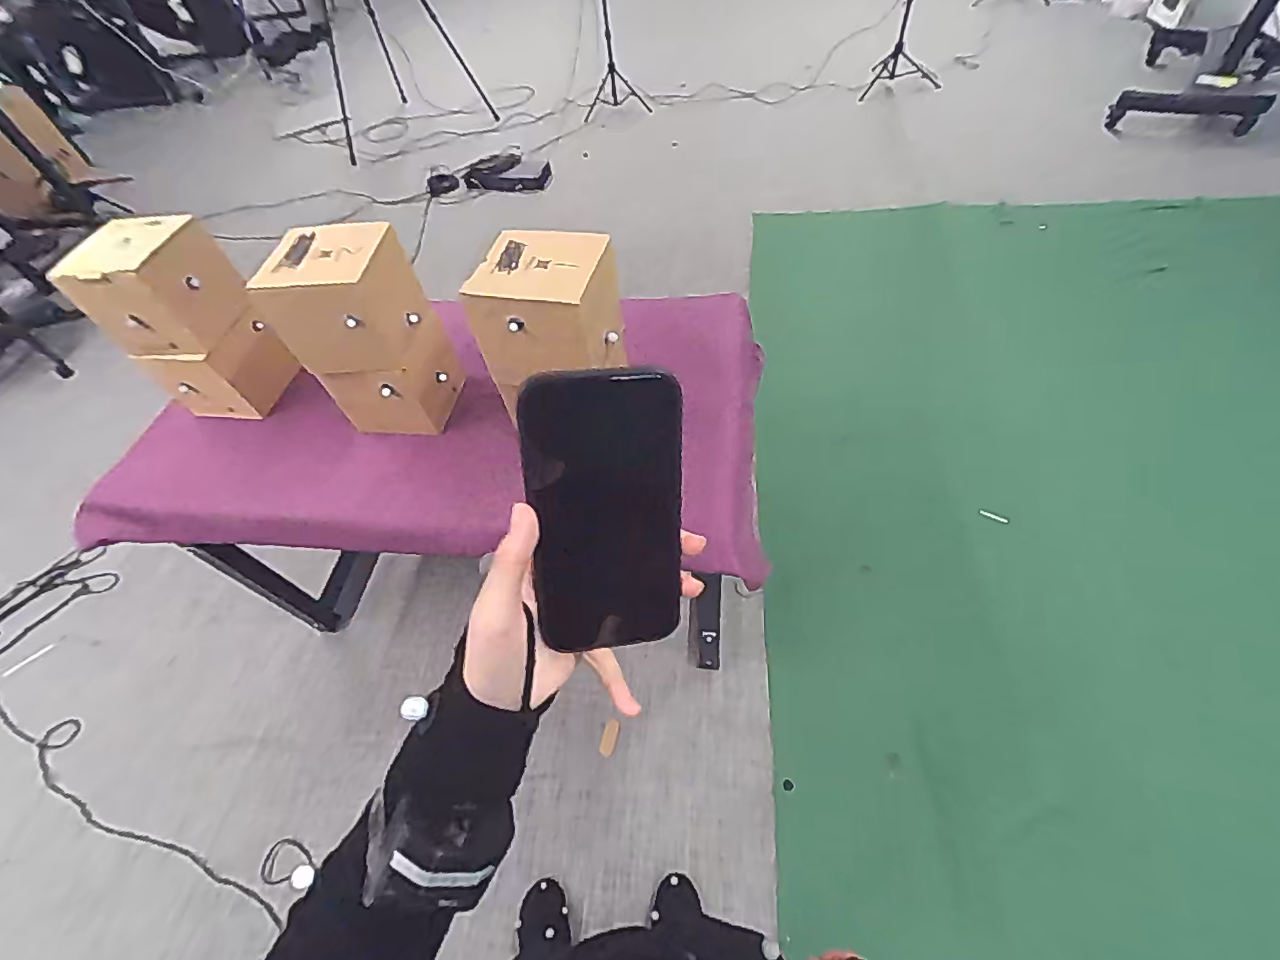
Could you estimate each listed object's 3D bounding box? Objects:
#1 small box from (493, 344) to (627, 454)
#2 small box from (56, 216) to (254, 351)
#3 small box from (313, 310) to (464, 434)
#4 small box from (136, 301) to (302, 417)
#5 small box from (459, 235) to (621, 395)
[{"bbox_3d":[-0.130,-0.166,0.968,0.179,0.176,0.168,9,55,13],"label":"small box"},{"bbox_3d":[-0.857,-0.350,0.981,0.168,0.176,0.179,1,55,6],"label":"small box"},{"bbox_3d":[-0.463,-0.202,1.031,0.179,0.176,0.168,4,54,10],"label":"small box"},{"bbox_3d":[-0.843,-0.246,1.109,0.168,0.176,0.179,5,54,10],"label":"small box"},{"bbox_3d":[-0.138,-0.250,0.827,0.179,0.176,0.168,9,55,12],"label":"small box"}]
